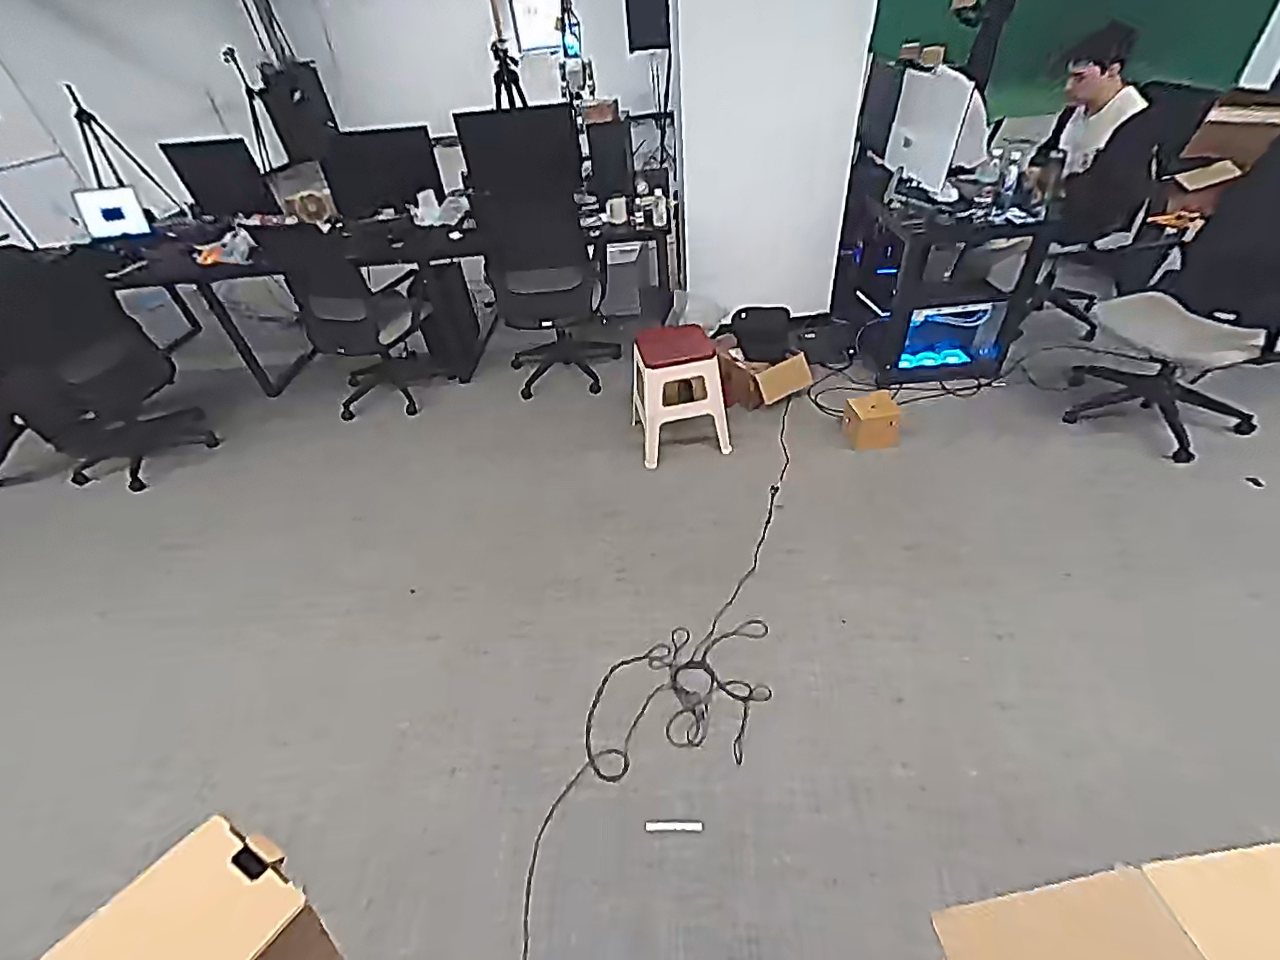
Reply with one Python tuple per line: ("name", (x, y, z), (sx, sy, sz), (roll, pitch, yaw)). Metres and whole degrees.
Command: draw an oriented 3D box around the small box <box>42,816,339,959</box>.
("small box", (-0.444, 0.501, 0.543), (0.168, 0.176, 0.179), (17, 32, 23))
